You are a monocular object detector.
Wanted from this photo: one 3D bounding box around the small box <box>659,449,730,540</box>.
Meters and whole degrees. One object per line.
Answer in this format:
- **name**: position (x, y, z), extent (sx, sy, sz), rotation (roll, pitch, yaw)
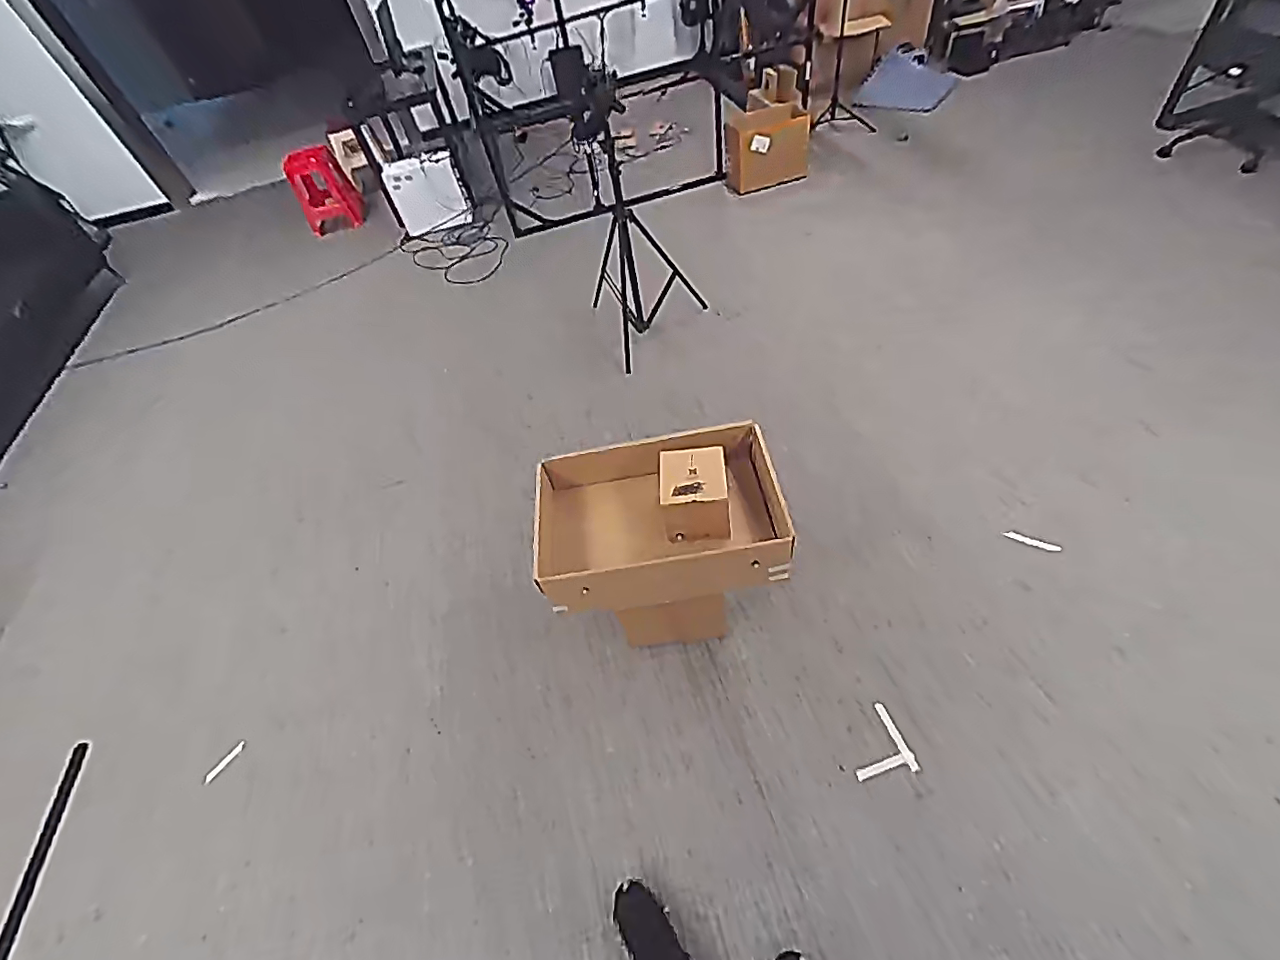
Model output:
- **small box**: position (0.142, 0.044, 1.403), extent (0.168, 0.176, 0.179), rotation (-5, 50, 8)
